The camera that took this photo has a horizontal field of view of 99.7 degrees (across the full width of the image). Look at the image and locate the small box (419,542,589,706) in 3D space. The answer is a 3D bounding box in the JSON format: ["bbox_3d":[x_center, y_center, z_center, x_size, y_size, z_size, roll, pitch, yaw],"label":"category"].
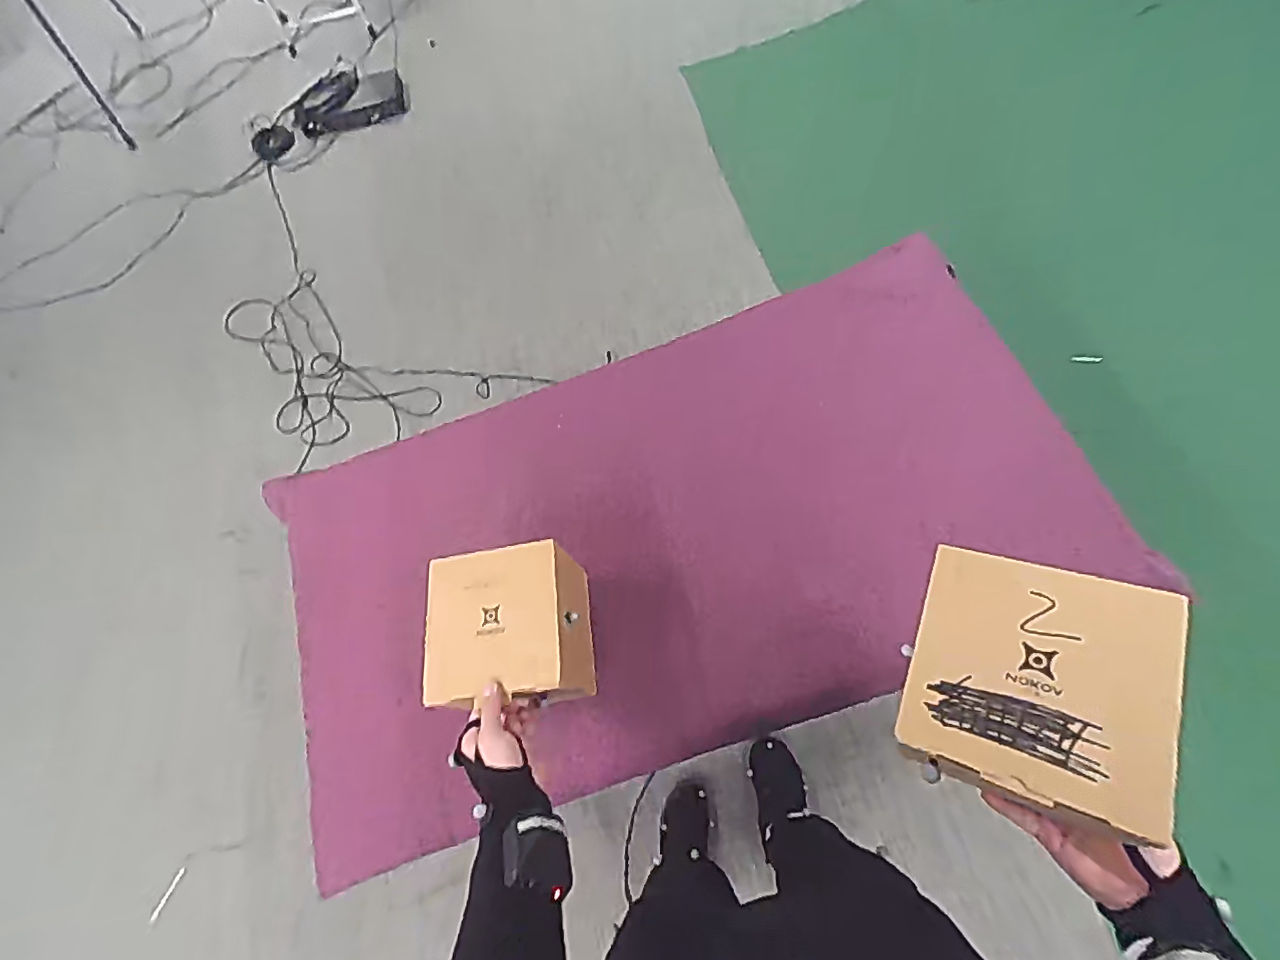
[{"bbox_3d":[-0.168,0.198,0.714,0.168,0.176,0.179,-9,64,6],"label":"small box"}]
